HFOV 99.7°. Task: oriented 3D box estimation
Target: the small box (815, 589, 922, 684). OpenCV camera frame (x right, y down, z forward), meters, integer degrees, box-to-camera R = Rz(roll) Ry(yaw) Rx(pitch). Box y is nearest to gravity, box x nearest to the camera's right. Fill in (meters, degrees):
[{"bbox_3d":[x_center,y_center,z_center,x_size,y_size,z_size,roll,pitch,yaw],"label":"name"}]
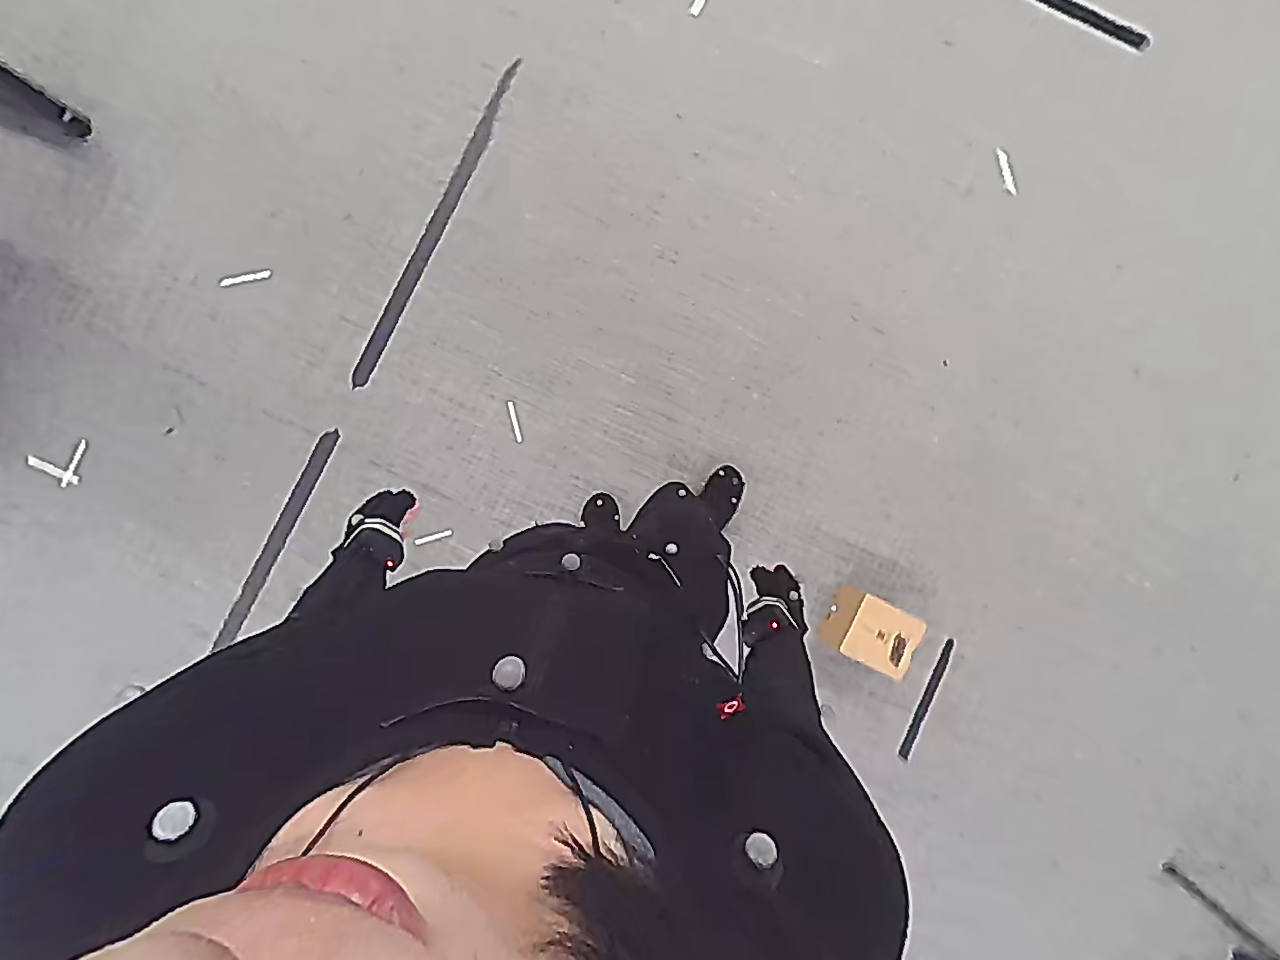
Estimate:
[{"bbox_3d":[0.605,0.409,1.452,0.179,0.176,0.168,28,88,1],"label":"small box"}]
